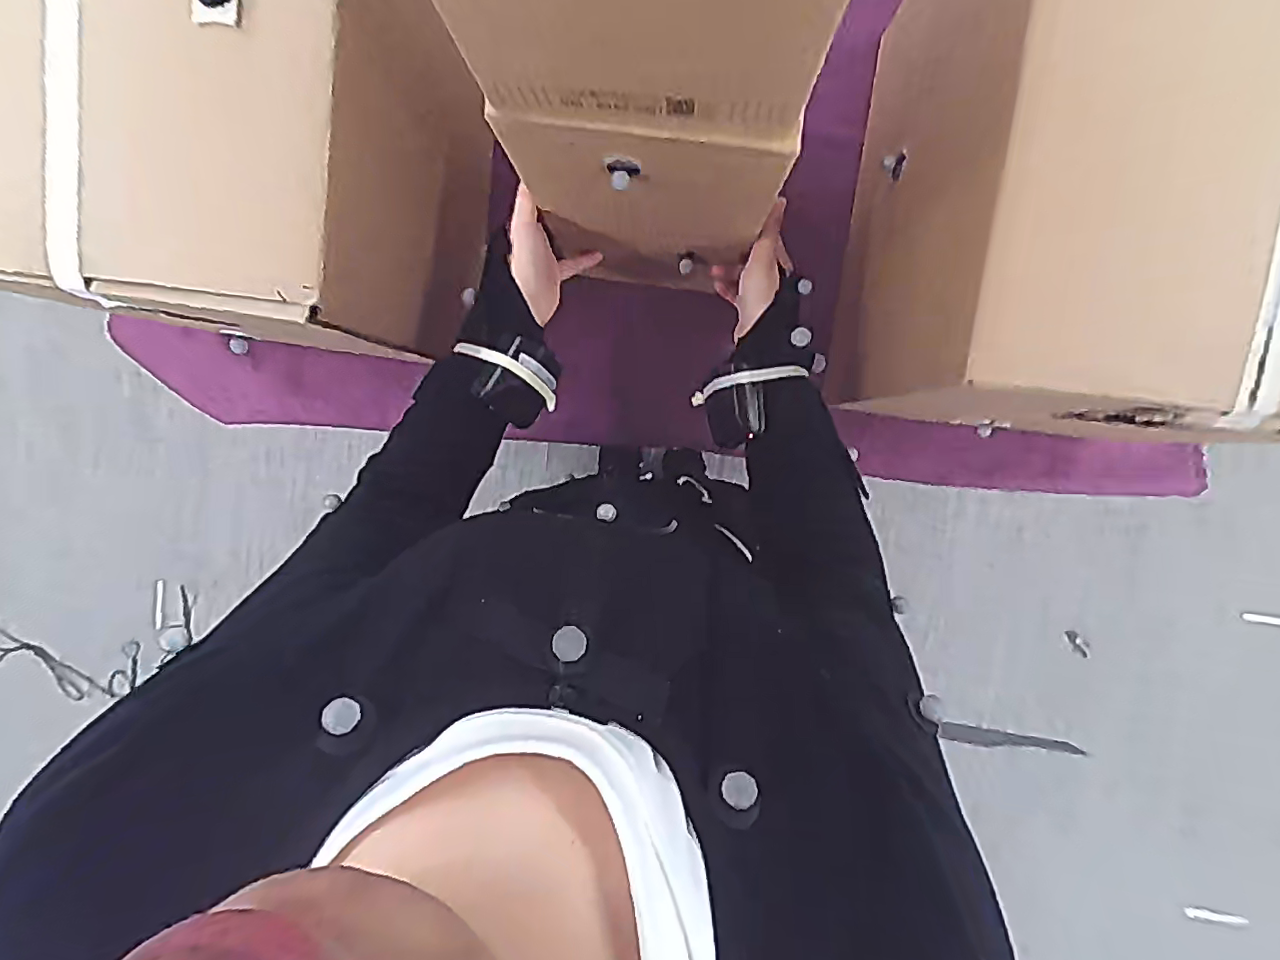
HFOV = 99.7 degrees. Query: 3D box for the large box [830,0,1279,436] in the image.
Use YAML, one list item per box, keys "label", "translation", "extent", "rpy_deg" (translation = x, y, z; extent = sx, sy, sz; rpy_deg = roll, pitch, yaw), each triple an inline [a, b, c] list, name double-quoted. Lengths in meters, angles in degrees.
- label: "large box"
  translation: [0.372, -0.248, 0.444]
  extent: [0.320, 0.320, 0.408]
  rpy_deg: [7, 94, 2]
